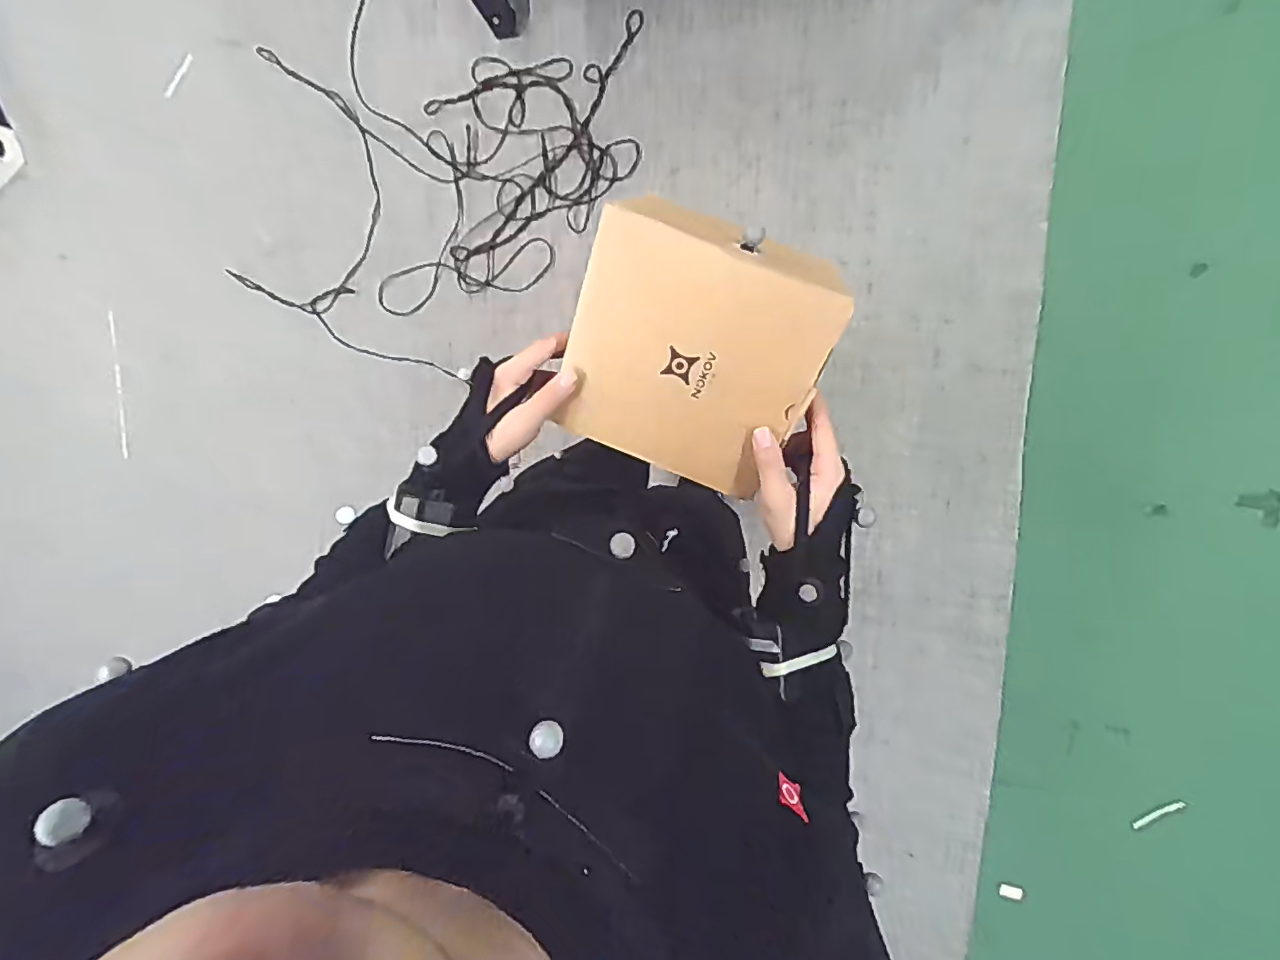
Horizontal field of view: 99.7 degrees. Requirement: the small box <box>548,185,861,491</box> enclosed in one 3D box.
[{"bbox_3d":[0.050,-0.124,0.447,0.179,0.176,0.168,22,122,1],"label":"small box"}]
